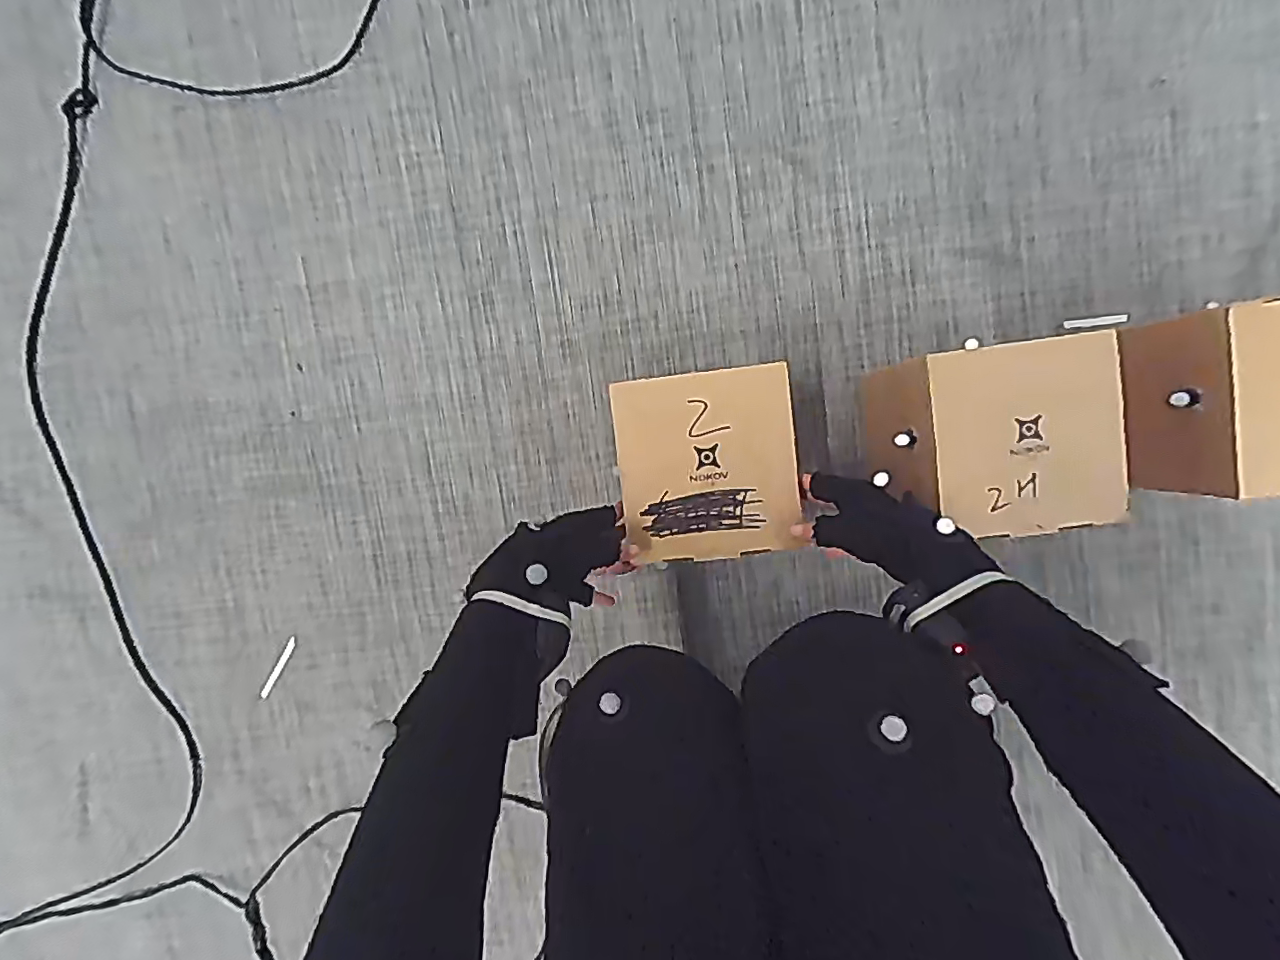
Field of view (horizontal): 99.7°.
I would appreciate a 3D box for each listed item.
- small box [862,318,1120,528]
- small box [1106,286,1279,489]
[{"bbox_3d":[0.348,-0.055,0.569,0.168,0.176,0.179,-8,94,4],"label":"small box"},{"bbox_3d":[0.600,-0.096,0.558,0.168,0.176,0.179,-9,94,3],"label":"small box"}]
